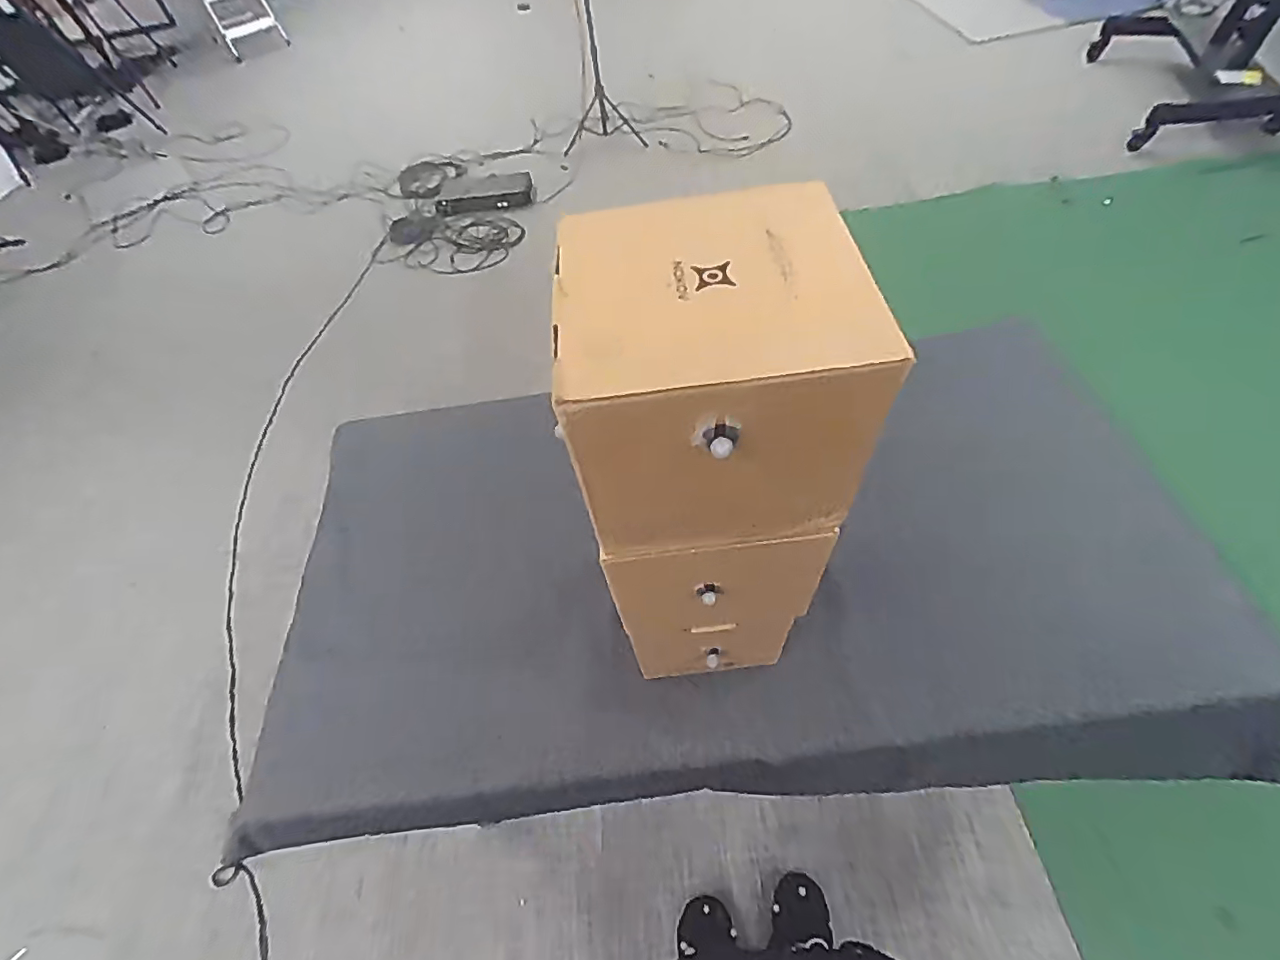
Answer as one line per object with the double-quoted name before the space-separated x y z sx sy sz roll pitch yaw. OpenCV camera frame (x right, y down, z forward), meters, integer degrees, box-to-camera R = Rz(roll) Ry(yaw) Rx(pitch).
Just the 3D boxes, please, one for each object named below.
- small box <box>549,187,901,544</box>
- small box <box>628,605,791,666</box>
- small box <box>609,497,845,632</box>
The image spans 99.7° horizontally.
"small box" 0.044 -0.067 0.373 0.179 0.176 0.168 -7 57 2
"small box" 0.072 0.113 0.644 0.168 0.176 0.179 -8 56 2
"small box" 0.061 0.028 0.503 0.179 0.176 0.168 -9 56 0
